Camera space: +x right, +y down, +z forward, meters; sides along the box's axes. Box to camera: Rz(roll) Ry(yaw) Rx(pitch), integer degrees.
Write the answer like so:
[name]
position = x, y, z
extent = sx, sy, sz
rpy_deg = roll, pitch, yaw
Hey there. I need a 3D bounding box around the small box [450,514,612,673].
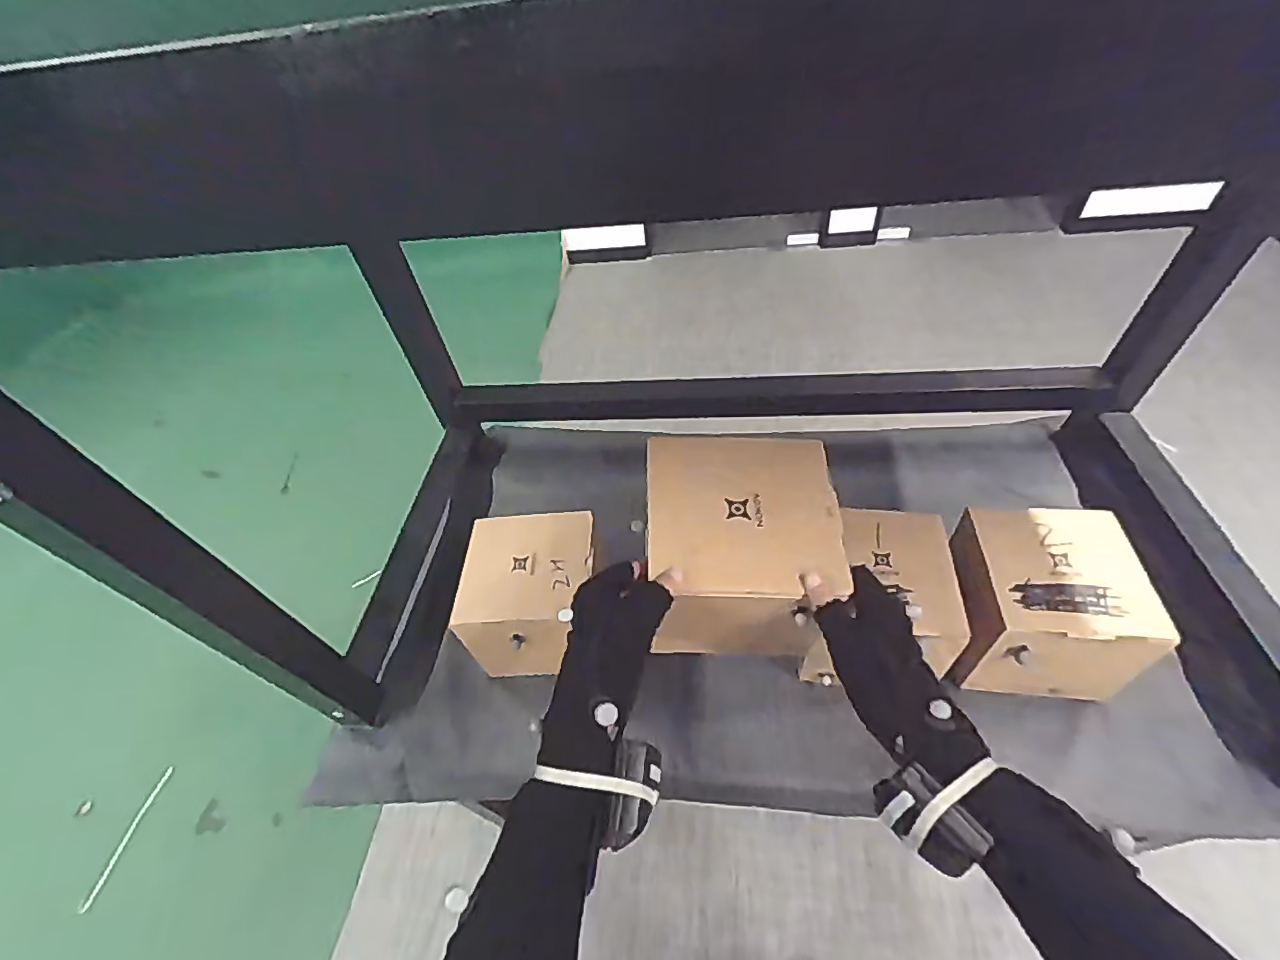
[small box]
position = -0.142, 0.167, 0.776
extent = 0.179, 0.176, 0.168
rpy_deg = -3, 49, 5
